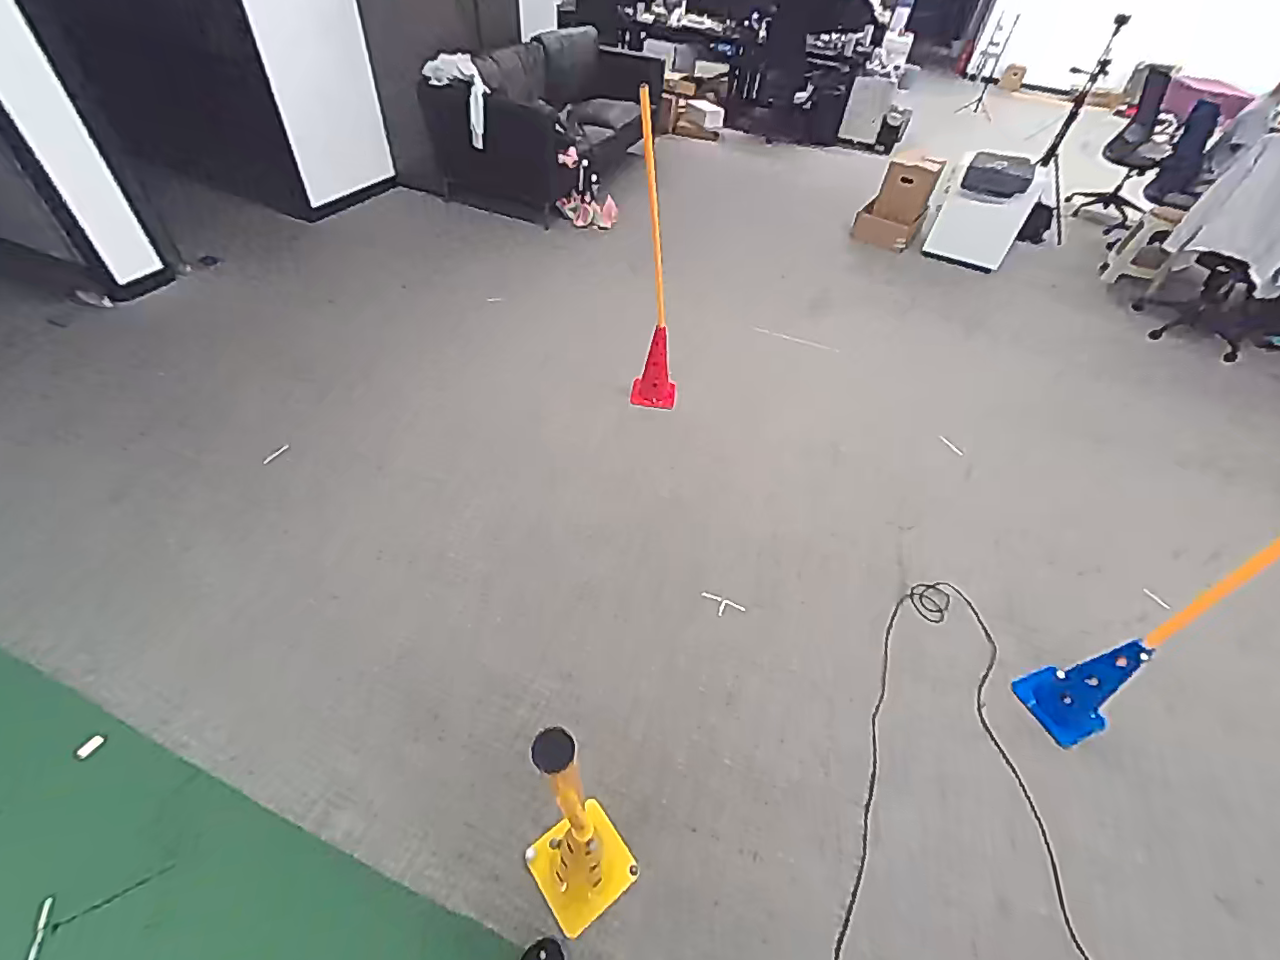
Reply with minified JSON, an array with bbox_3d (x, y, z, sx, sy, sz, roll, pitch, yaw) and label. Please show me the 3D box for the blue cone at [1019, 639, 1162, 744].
[{"bbox_3d":[1.258,0.540,1.482,0.193,0.380,0.192,-12,48,-21],"label":"blue cone"}]
